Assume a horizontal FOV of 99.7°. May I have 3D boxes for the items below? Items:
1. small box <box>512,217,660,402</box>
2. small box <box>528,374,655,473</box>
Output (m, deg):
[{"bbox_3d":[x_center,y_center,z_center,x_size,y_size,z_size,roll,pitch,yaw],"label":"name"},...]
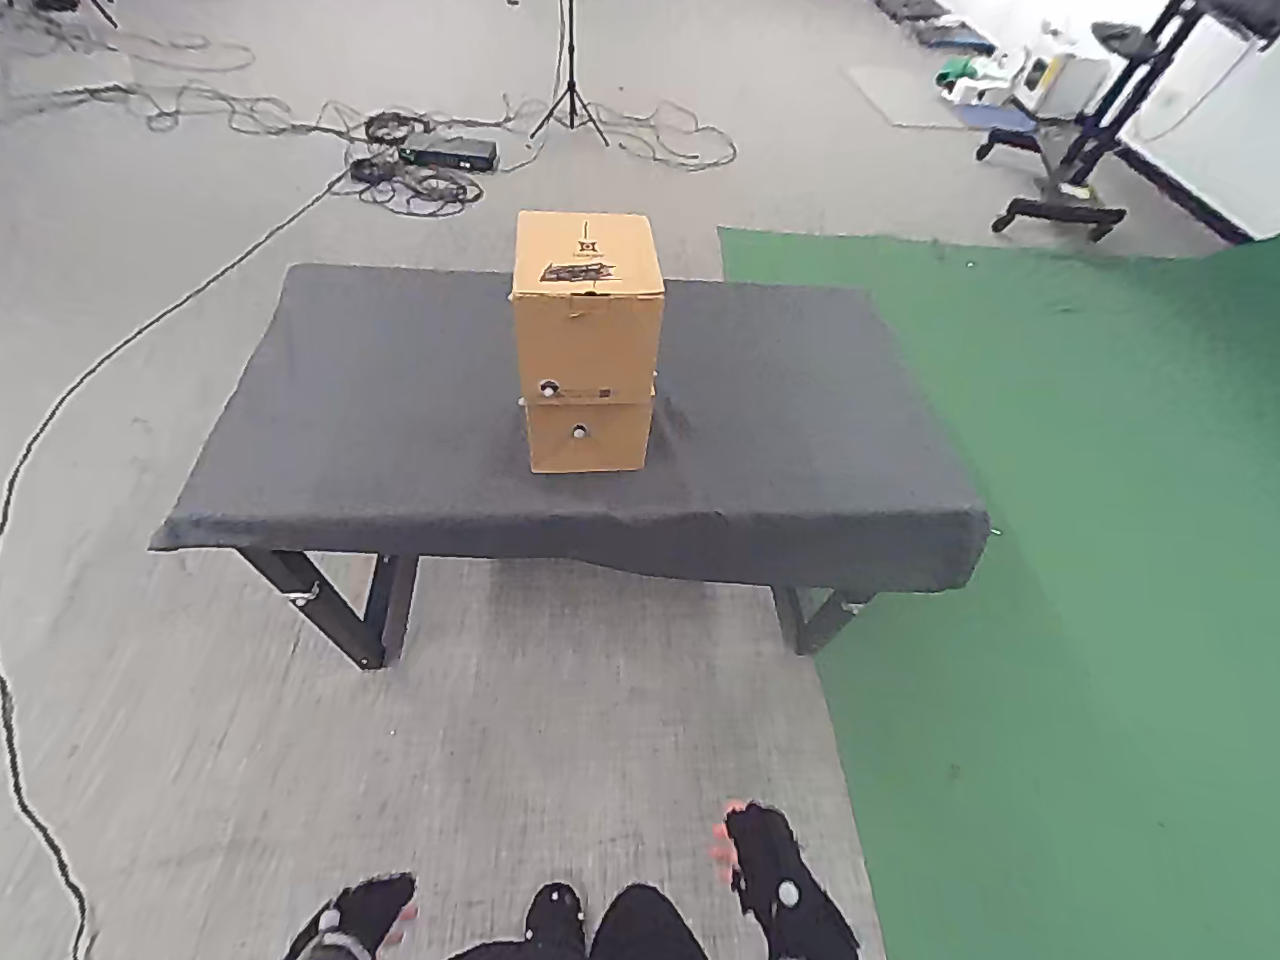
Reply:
[{"bbox_3d":[-0.070,-0.216,0.703,0.168,0.176,0.179,-1,52,-7],"label":"small box"},{"bbox_3d":[-0.081,-0.124,0.843,0.179,0.176,0.168,-4,52,-10],"label":"small box"}]
